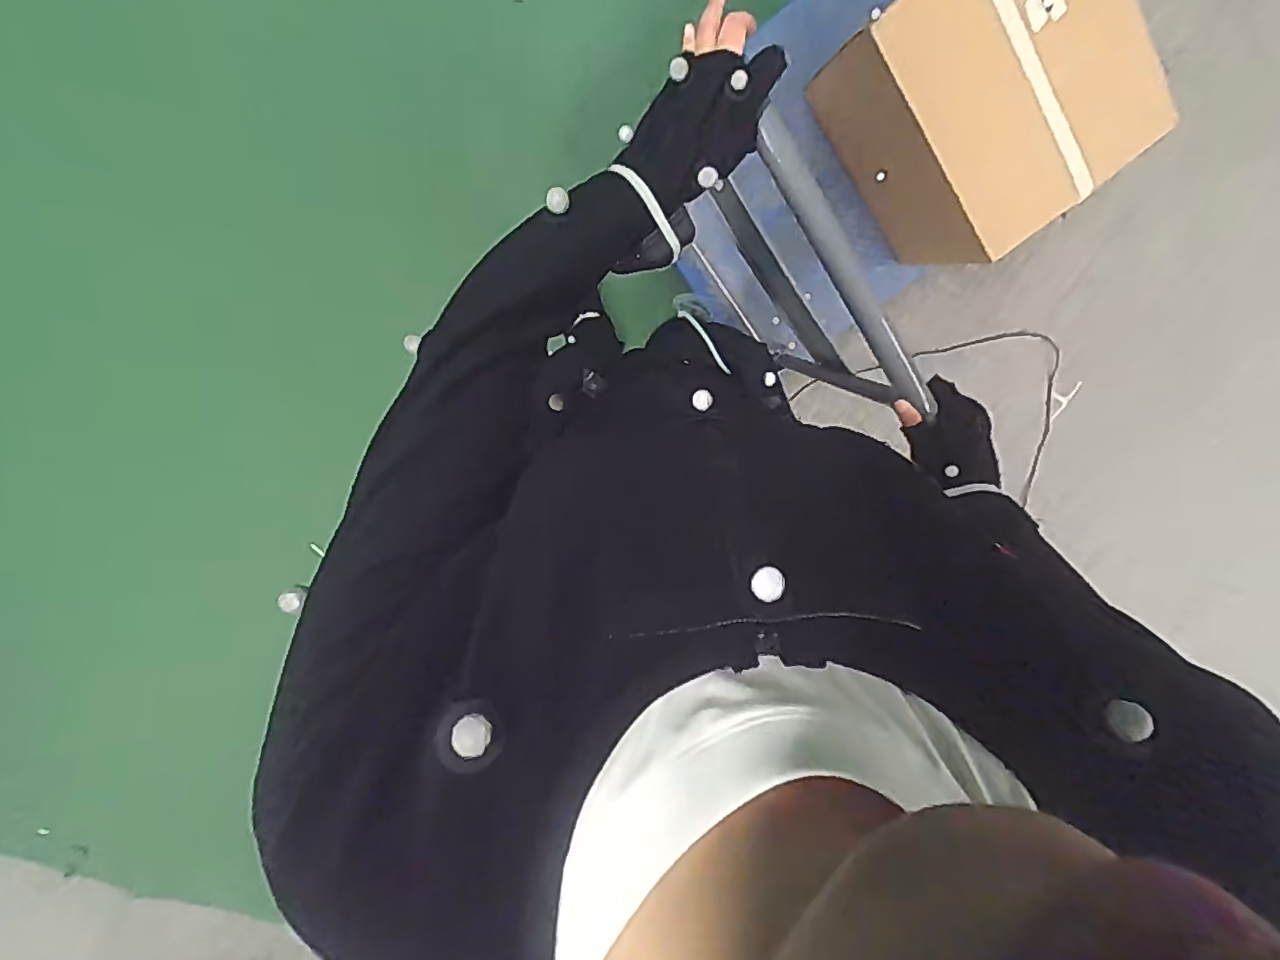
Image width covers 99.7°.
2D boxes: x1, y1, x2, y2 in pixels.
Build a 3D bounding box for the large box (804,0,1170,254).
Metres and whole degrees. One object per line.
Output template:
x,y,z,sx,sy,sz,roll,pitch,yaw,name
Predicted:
0.555,-0.655,0.927,0.320,0.320,0.408,-38,107,12,large box
